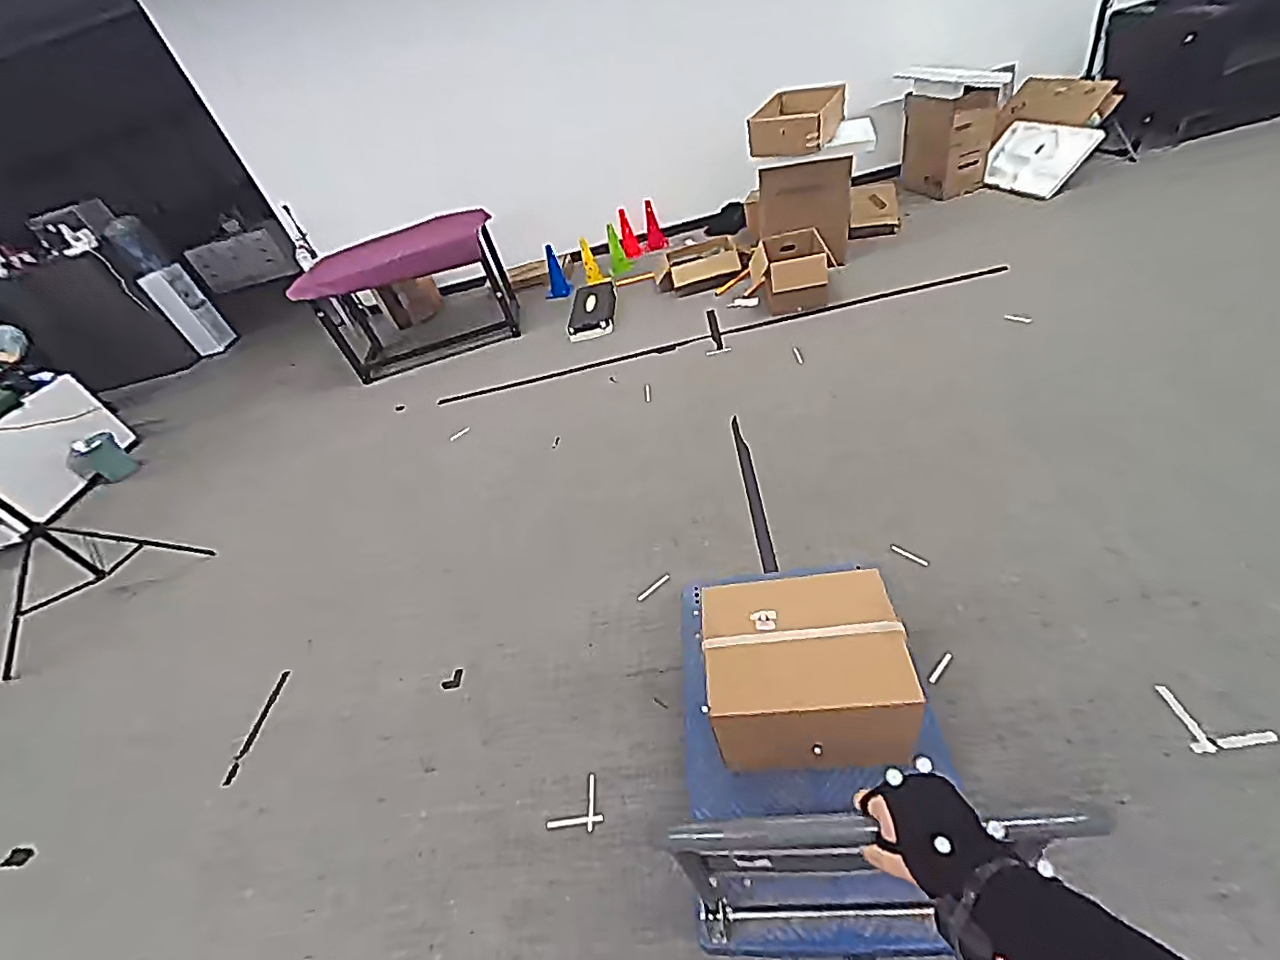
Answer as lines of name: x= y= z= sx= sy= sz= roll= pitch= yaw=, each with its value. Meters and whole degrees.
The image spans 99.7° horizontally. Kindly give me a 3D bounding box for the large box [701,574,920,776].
large box: x=0.375 y=0.456 z=1.249 sx=0.408 sy=0.320 sz=0.320 roll=-10 pitch=40 yaw=11
